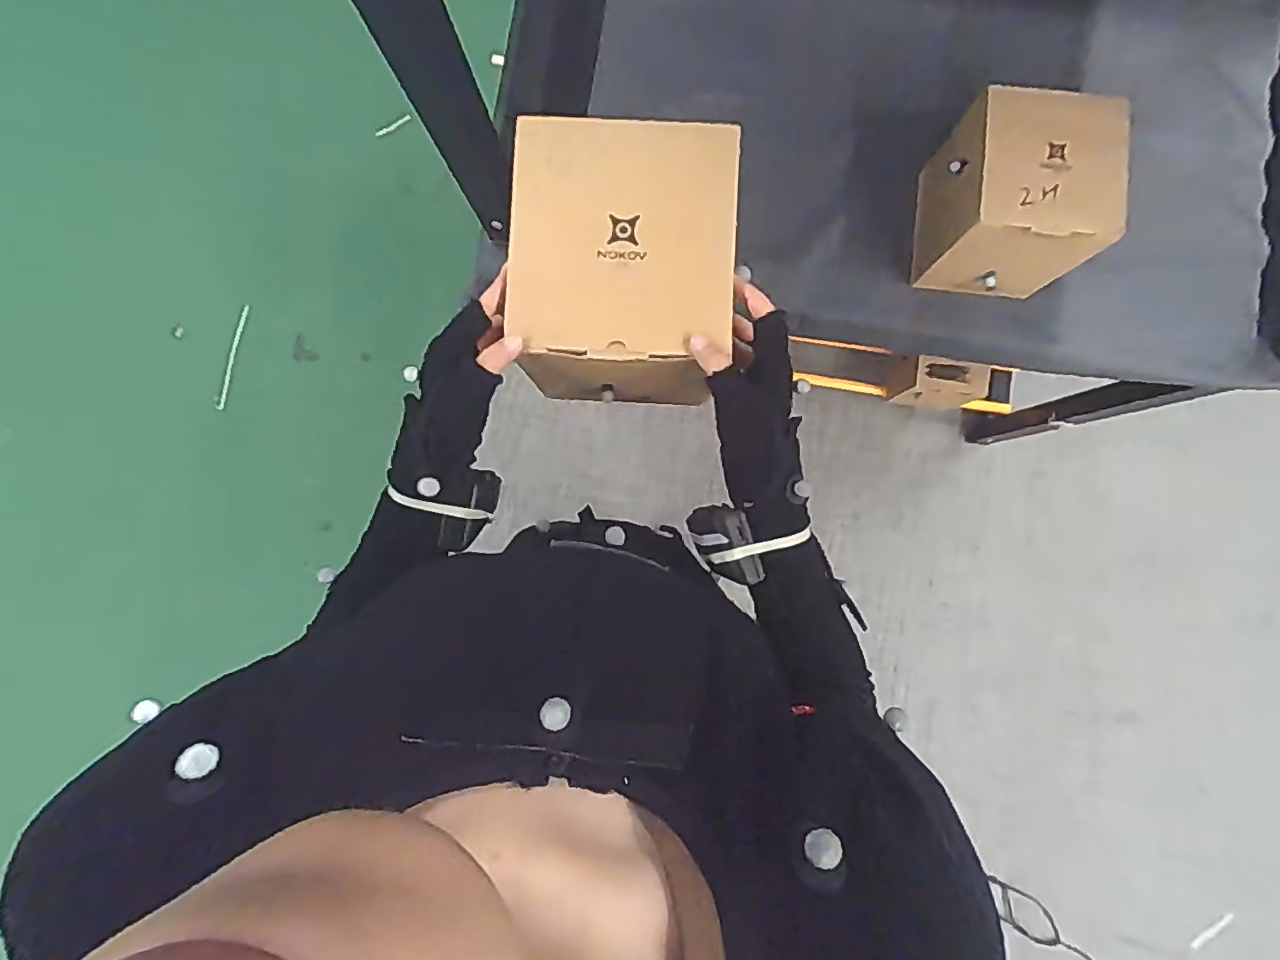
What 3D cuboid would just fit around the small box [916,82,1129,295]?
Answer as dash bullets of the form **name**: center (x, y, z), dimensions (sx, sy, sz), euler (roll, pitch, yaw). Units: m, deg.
- **small box**: center (0.486, -0.370, 0.711), dimensions (0.168, 0.176, 0.179), euler (7, 84, 2)
